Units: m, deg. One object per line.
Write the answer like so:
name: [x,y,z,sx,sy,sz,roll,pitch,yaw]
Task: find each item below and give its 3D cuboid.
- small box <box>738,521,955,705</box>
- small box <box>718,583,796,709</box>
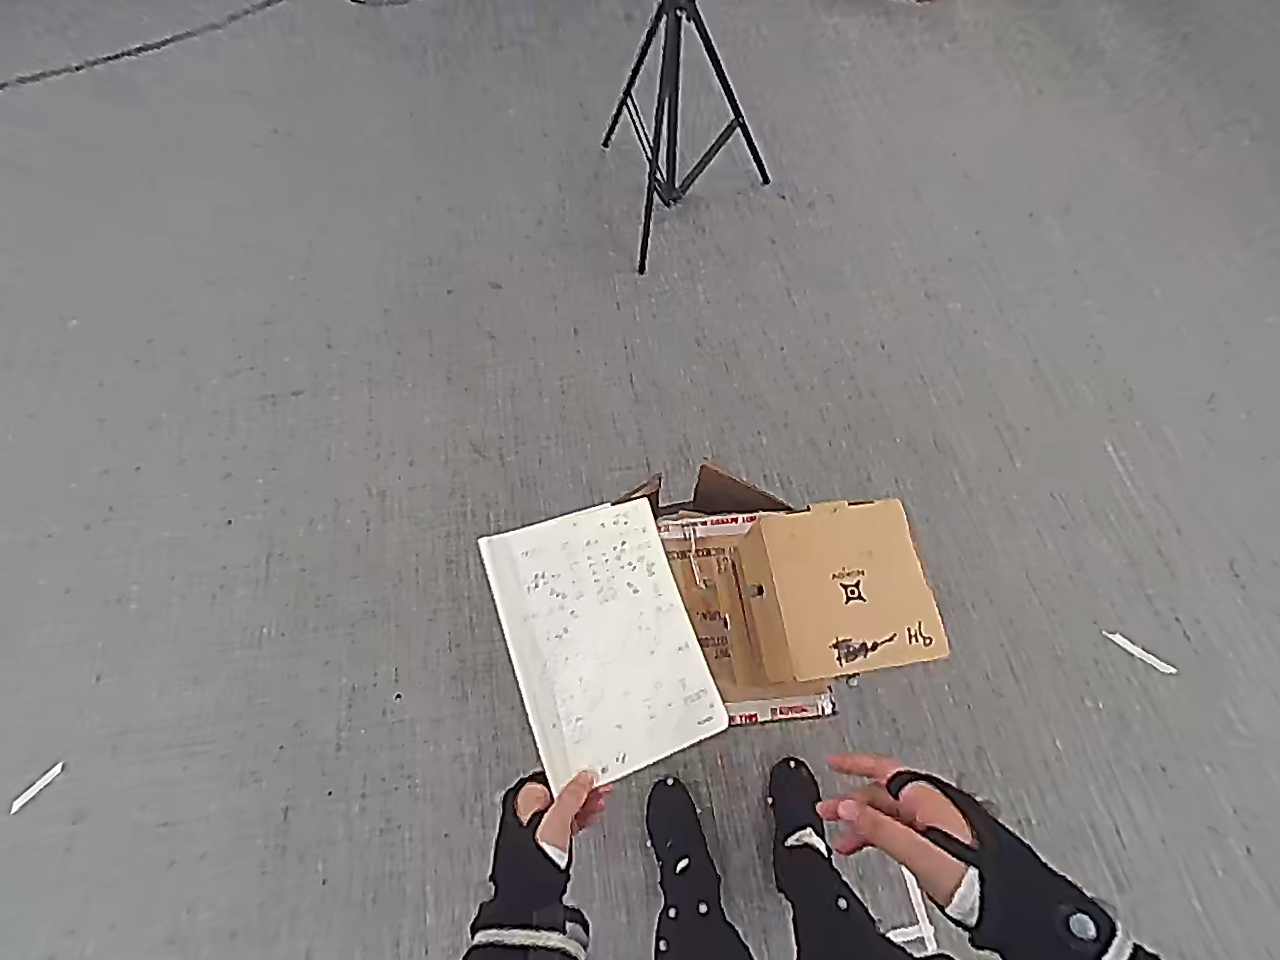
small box: [0.225,0.164,0.644,0.168,0.176,0.179,-8,69,-4]
small box: [0.226,0.230,0.795,0.179,0.176,0.168,-10,70,-4]
